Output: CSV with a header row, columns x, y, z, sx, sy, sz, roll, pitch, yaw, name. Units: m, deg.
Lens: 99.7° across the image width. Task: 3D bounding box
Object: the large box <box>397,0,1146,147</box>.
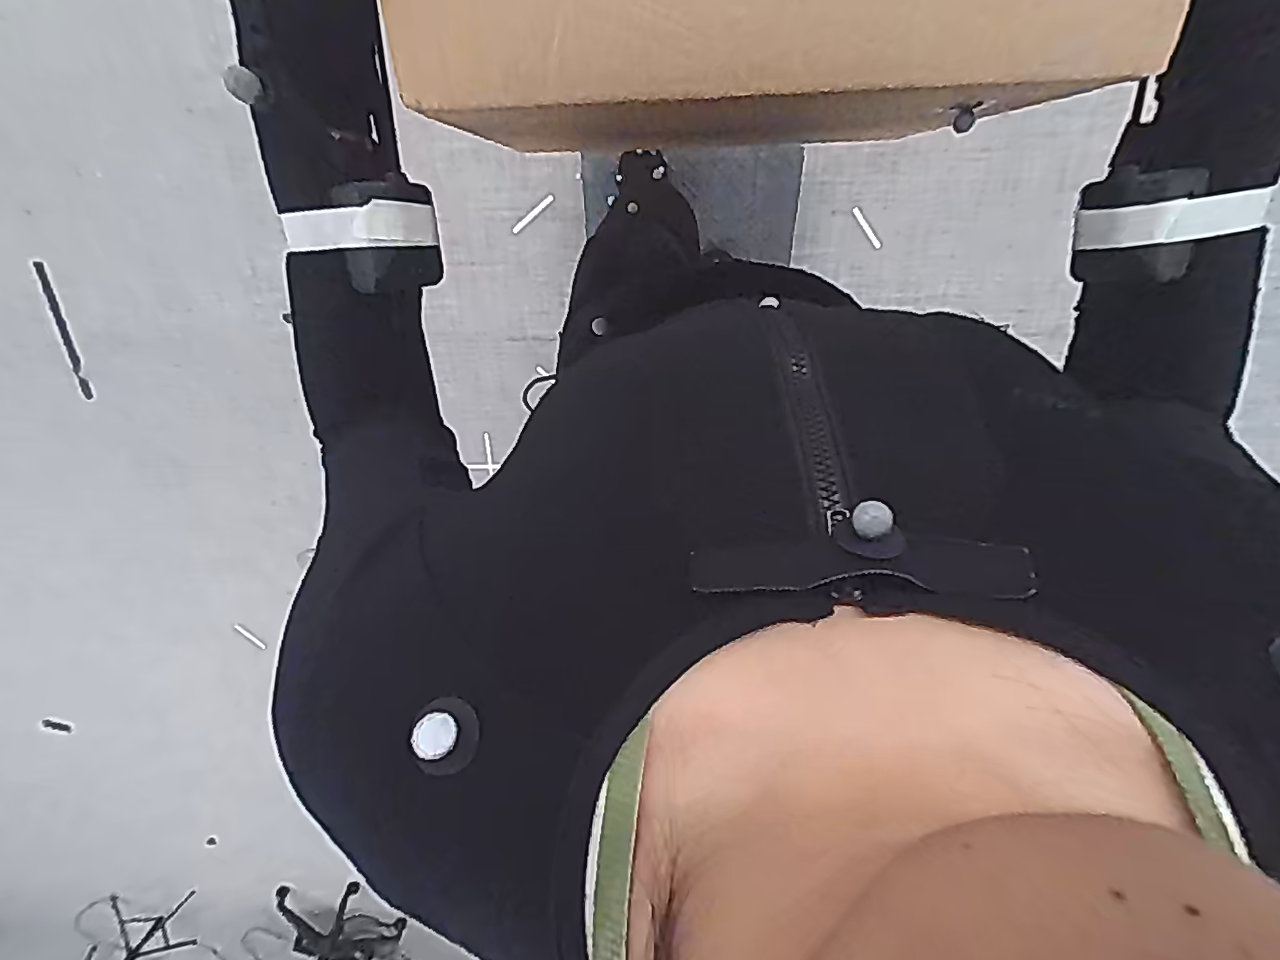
x,y,z,sx,sy,sz,roll,pitch,yaw,name
0.066,-0.422,0.363,0.408,0.320,0.320,-2,117,1,large box
